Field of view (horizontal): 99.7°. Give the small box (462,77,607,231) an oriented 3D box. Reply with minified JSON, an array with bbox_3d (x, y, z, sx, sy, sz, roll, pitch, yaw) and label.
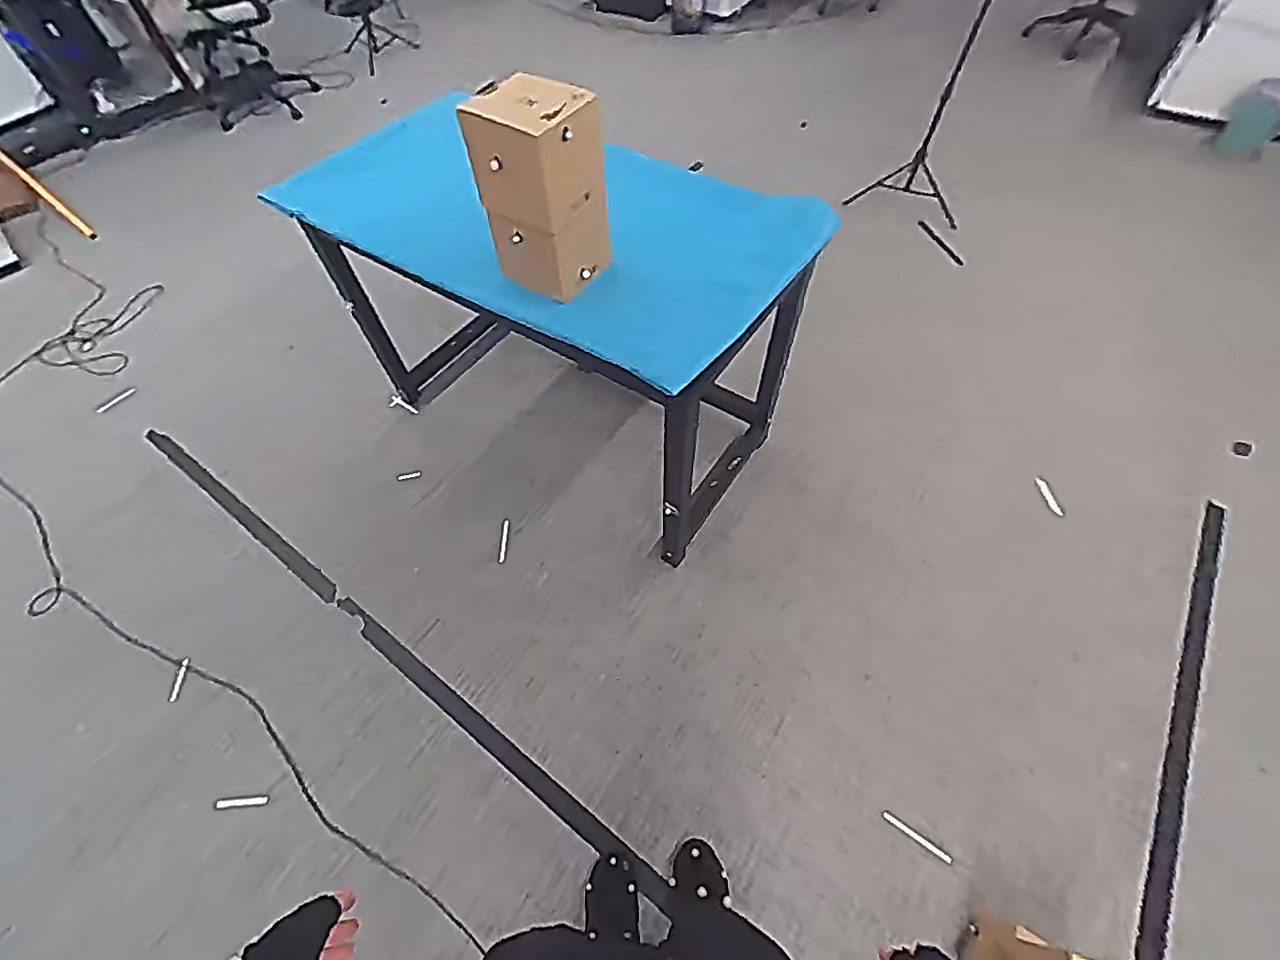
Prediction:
[{"bbox_3d":[-0.175,-0.572,0.957,0.179,0.176,0.168,26,62,17],"label":"small box"}]

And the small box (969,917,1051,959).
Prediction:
[{"bbox_3d":[0.723,0.946,0.990,0.179,0.176,0.168,29,63,18],"label":"small box"}]

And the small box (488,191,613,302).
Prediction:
[{"bbox_3d":[-0.172,-0.493,1.099,0.179,0.176,0.168,29,63,20],"label":"small box"}]

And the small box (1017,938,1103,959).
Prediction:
[{"bbox_3d":[0.729,0.860,0.849,0.179,0.176,0.168,16,58,15],"label":"small box"}]
